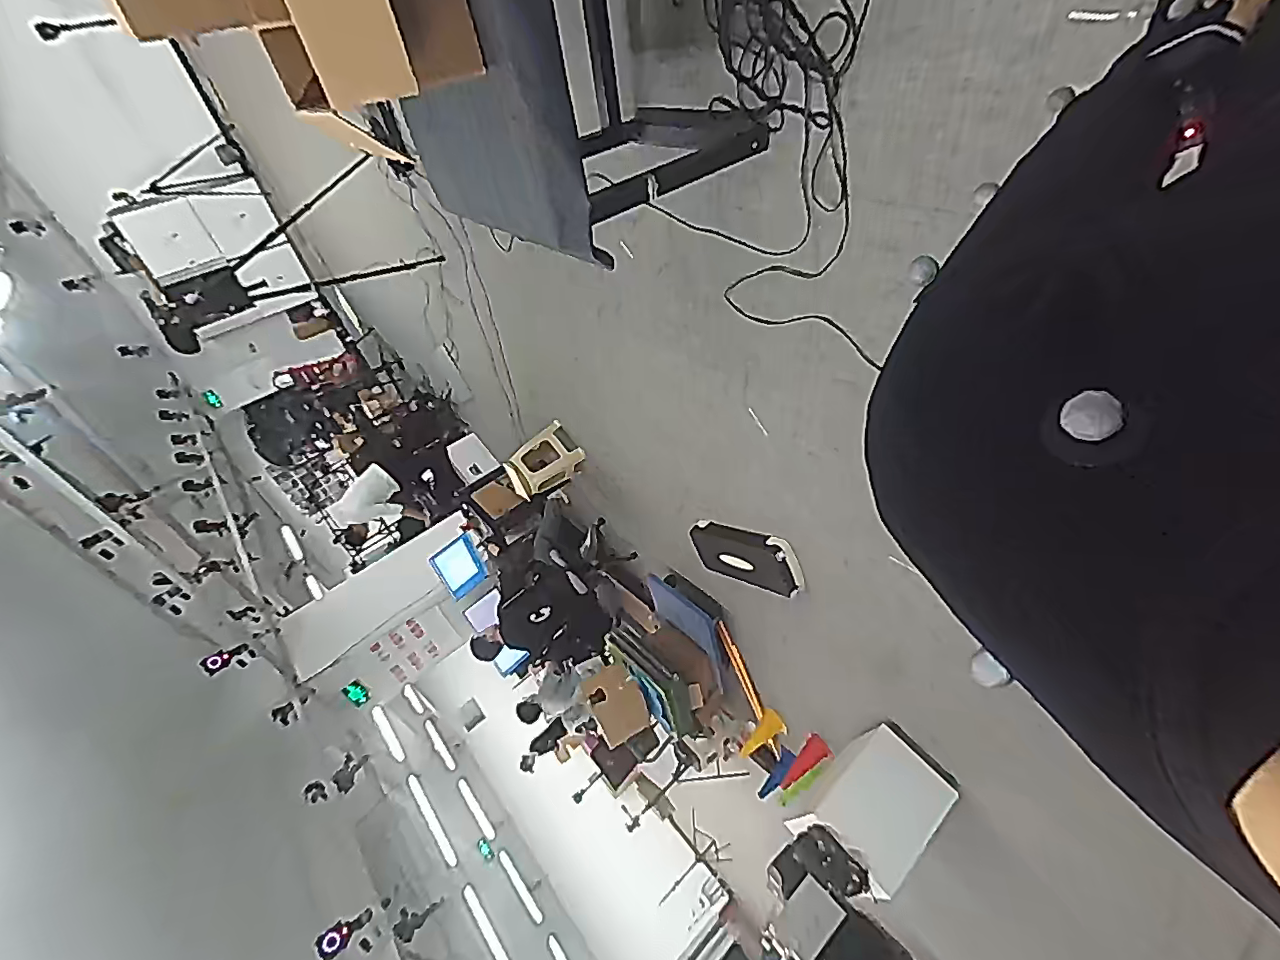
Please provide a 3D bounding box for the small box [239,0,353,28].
[{"bbox_3d":[-0.613,-0.874,0.890,0.168,0.176,0.179,35,149,38],"label":"small box"}]

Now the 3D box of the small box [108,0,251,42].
[{"bbox_3d":[-0.740,-0.792,0.830,0.179,0.176,0.168,37,150,38],"label":"small box"}]
